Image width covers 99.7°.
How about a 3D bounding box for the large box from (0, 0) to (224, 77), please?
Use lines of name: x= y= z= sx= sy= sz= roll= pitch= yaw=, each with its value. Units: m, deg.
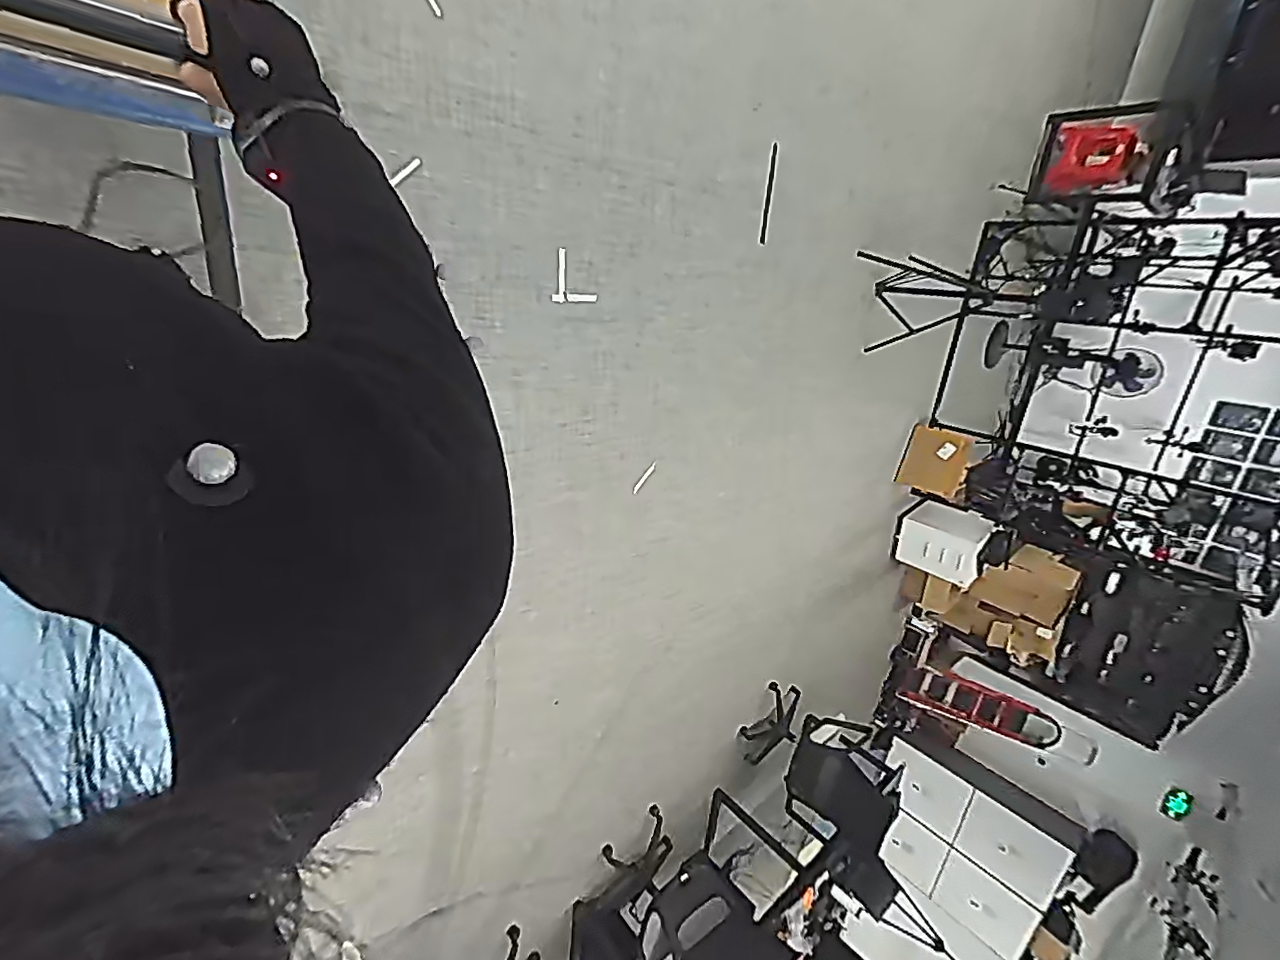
large box: x=-0.794 y=-0.750 z=0.647 sx=0.408 sy=0.320 sz=0.320 roll=-12 pitch=118 yaw=-42
